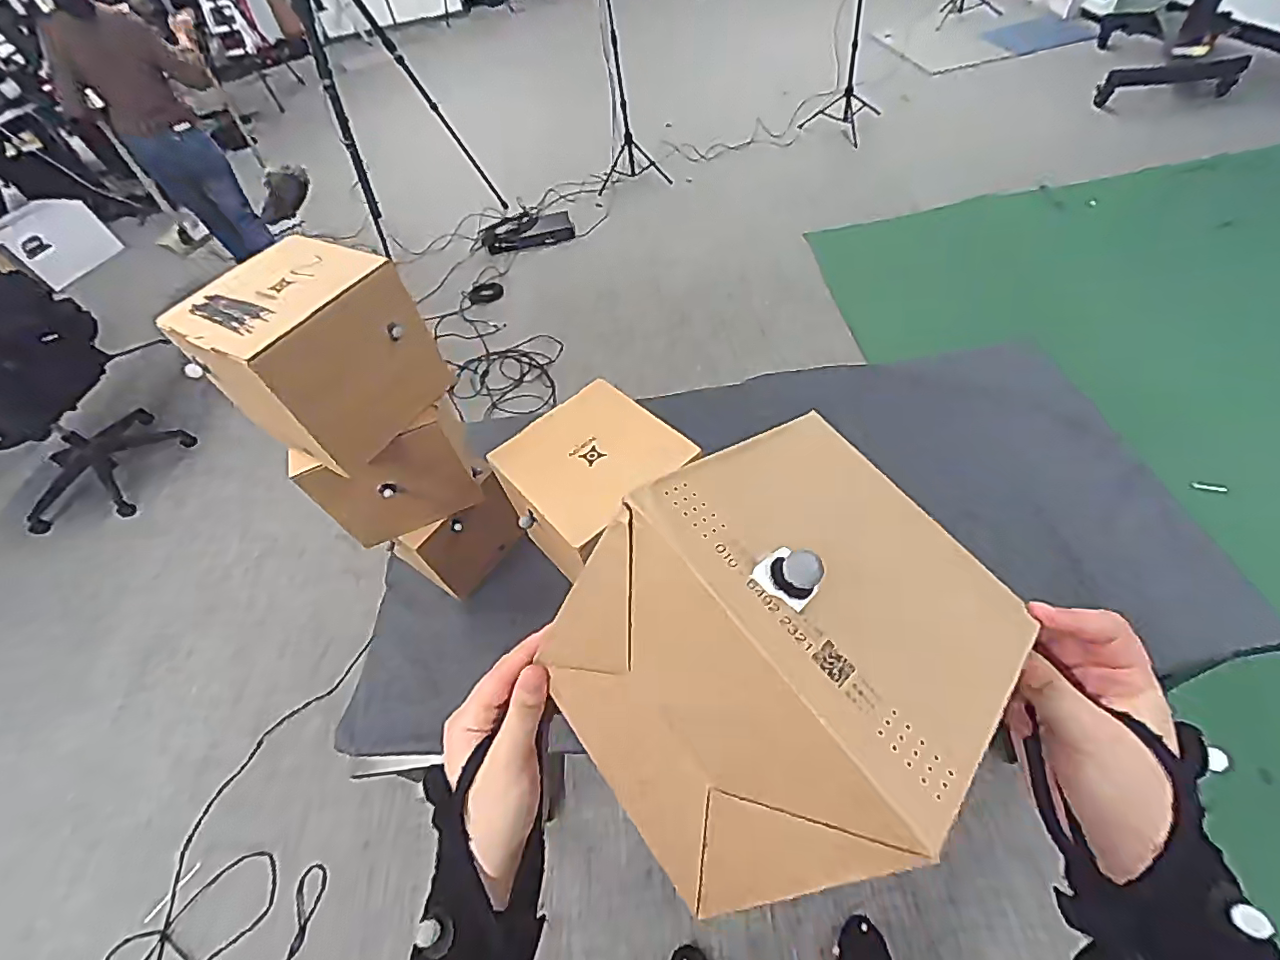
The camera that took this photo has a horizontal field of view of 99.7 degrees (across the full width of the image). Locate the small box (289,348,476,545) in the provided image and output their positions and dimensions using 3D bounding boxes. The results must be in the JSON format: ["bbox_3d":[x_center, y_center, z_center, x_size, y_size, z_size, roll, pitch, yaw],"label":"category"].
[{"bbox_3d":[-0.341,-0.042,0.739,0.179,0.176,0.168,-24,53,-8],"label":"small box"}]

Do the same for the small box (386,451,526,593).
[{"bbox_3d":[-0.317,0.054,0.871,0.179,0.176,0.168,25,61,26],"label":"small box"}]

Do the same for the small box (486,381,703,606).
[{"bbox_3d":[-0.042,0.023,0.633,0.168,0.176,0.179,-38,54,-18],"label":"small box"}]

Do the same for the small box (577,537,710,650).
[{"bbox_3d":[-0.013,0.116,0.763,0.168,0.176,0.179,-29,52,-12],"label":"small box"}]
